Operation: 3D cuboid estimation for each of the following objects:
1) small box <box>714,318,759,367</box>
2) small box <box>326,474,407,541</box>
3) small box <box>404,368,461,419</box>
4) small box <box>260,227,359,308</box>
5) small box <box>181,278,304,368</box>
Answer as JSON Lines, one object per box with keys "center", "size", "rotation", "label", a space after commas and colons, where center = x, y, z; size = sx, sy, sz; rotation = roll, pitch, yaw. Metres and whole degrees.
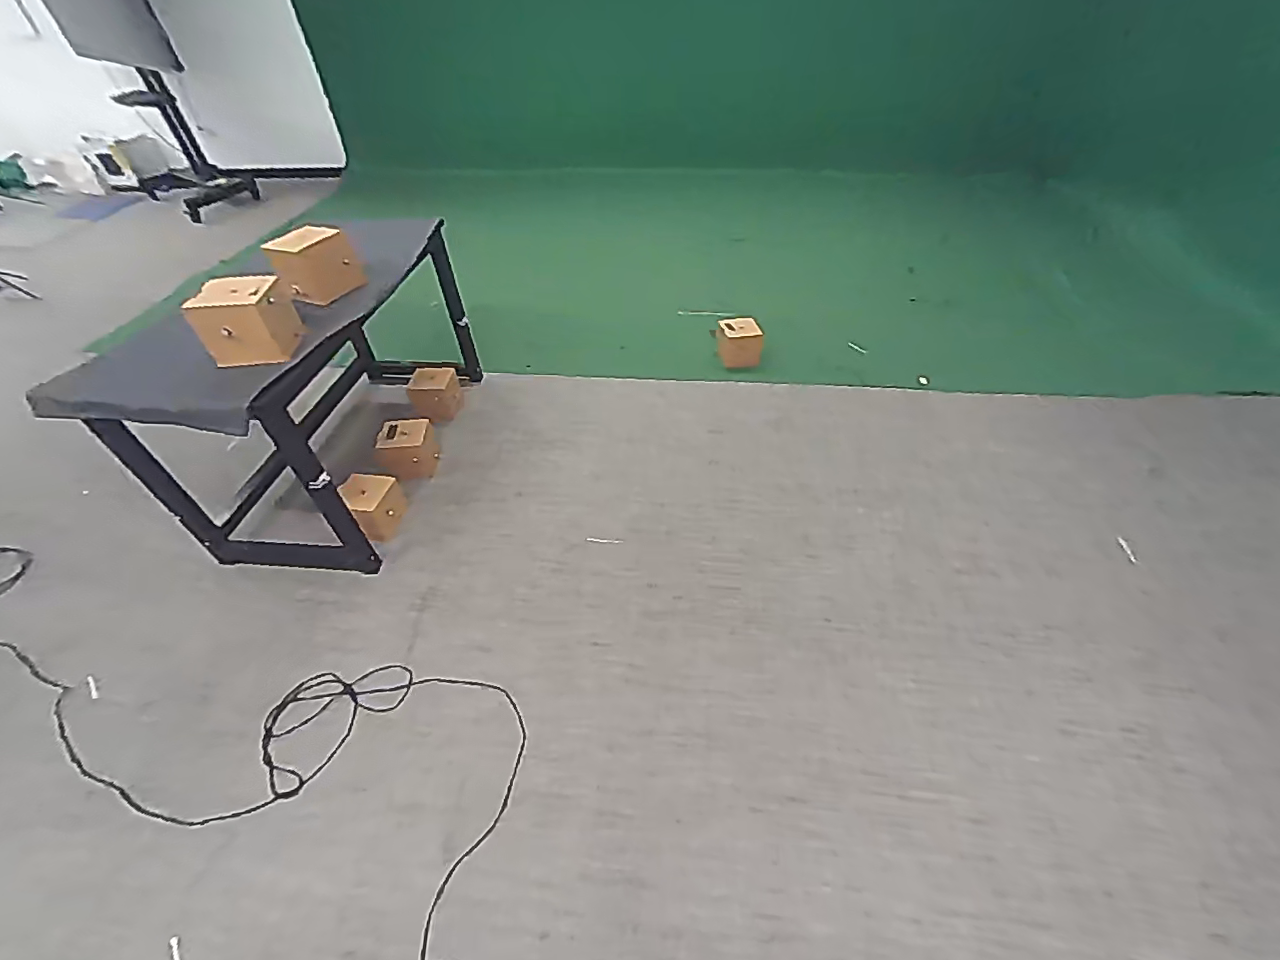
{"center": [0.466, -0.668, 2.636], "size": [0.179, 0.176, 0.168], "rotation": [-8, 46, -6], "label": "small box"}
{"center": [-0.970, 0.103, 1.942], "size": [0.179, 0.176, 0.168], "rotation": [5, 46, 9], "label": "small box"}
{"center": [-0.921, -0.383, 2.415], "size": [0.179, 0.176, 0.168], "rotation": [-1, 45, 2], "label": "small box"}
{"center": [-1.003, -0.656, 1.667], "size": [0.168, 0.176, 0.179], "rotation": [15, 49, 21], "label": "small box"}
{"center": [-1.032, -0.410, 1.423], "size": [0.179, 0.176, 0.168], "rotation": [-6, 45, -4], "label": "small box"}
